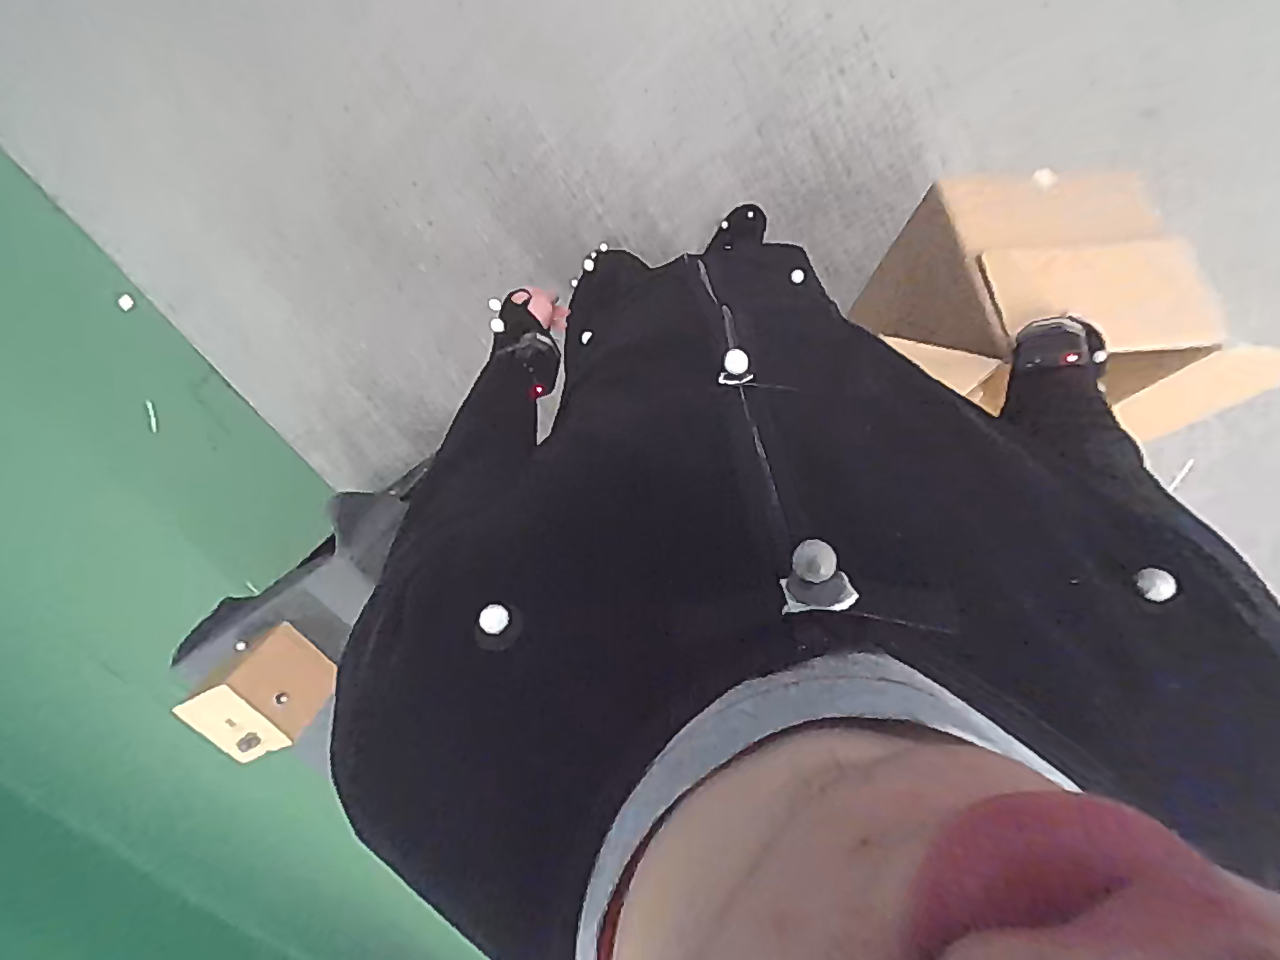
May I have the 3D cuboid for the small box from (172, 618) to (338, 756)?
[{"bbox_3d":[-0.757,0.412,1.086,0.168,0.176,0.179,-26,112,19],"label":"small box"}]
